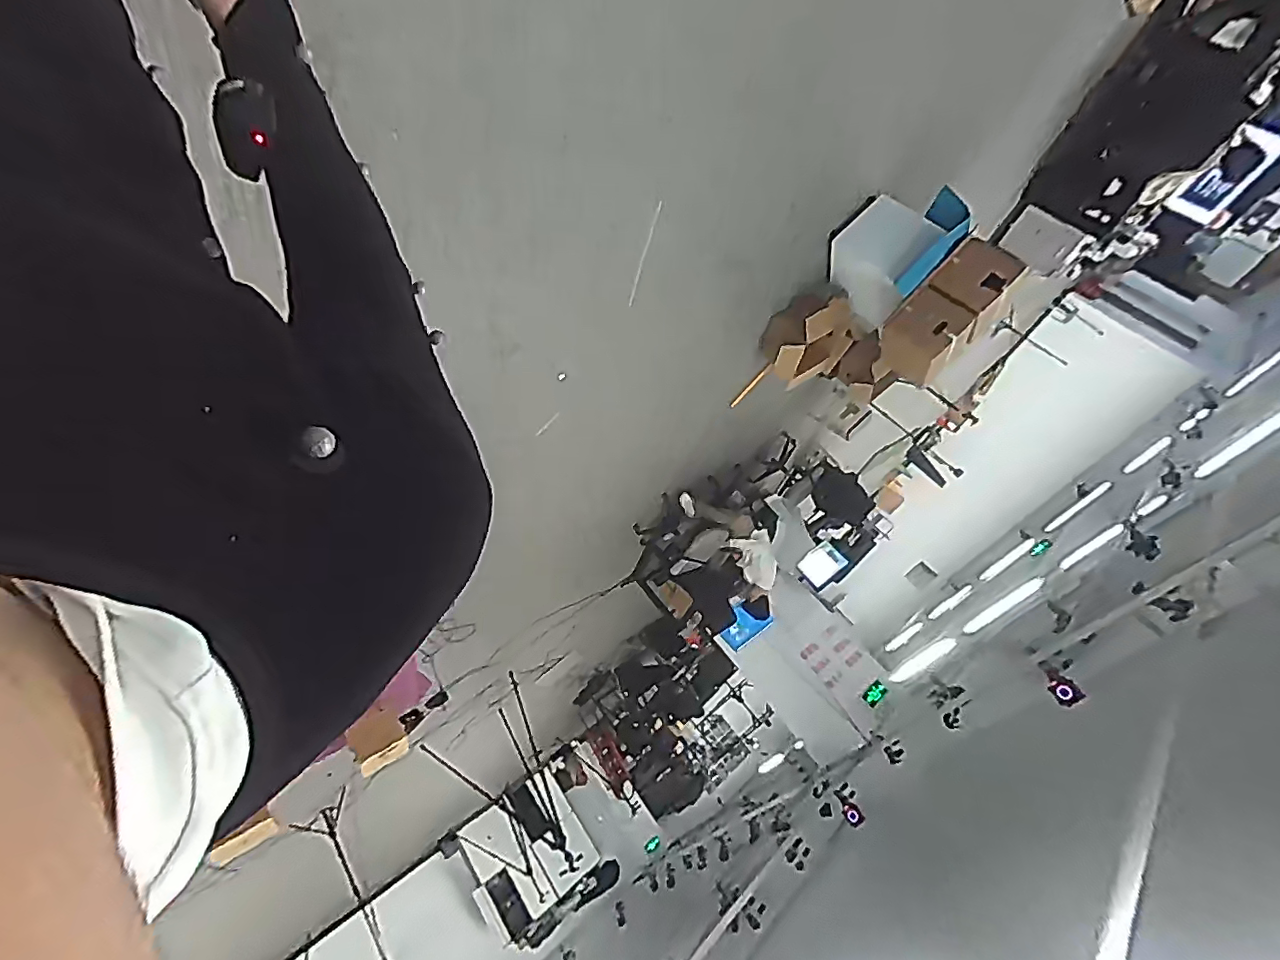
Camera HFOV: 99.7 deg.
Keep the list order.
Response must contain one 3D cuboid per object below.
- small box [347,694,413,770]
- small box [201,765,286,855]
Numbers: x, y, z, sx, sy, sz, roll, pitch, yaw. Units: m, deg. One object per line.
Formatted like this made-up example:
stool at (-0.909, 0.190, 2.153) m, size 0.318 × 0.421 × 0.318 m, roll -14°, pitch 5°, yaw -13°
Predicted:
small box at (-0.943, 0.910, 1.966) m, size 0.168 × 0.176 × 0.179 m, roll -23°, pitch 151°, yaw -35°
small box at (-1.263, 1.044, 1.722) m, size 0.168 × 0.176 × 0.179 m, roll -22°, pitch 150°, yaw -36°
